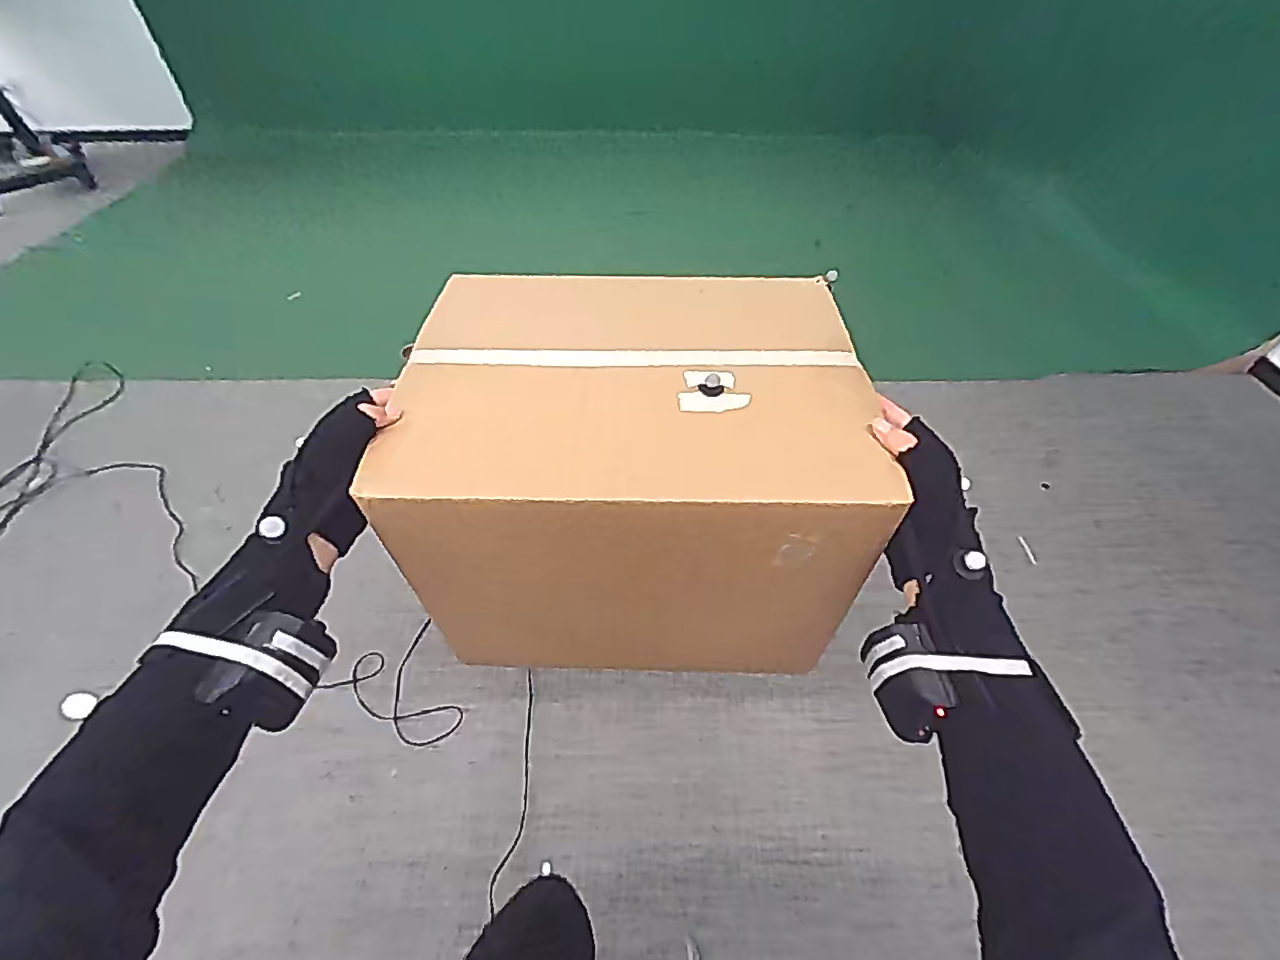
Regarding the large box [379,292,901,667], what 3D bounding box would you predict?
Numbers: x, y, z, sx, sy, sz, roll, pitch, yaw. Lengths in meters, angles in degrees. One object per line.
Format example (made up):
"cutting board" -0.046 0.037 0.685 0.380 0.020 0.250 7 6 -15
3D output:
"large box" -0.002 0.004 0.613 0.408 0.320 0.320 1 49 0
